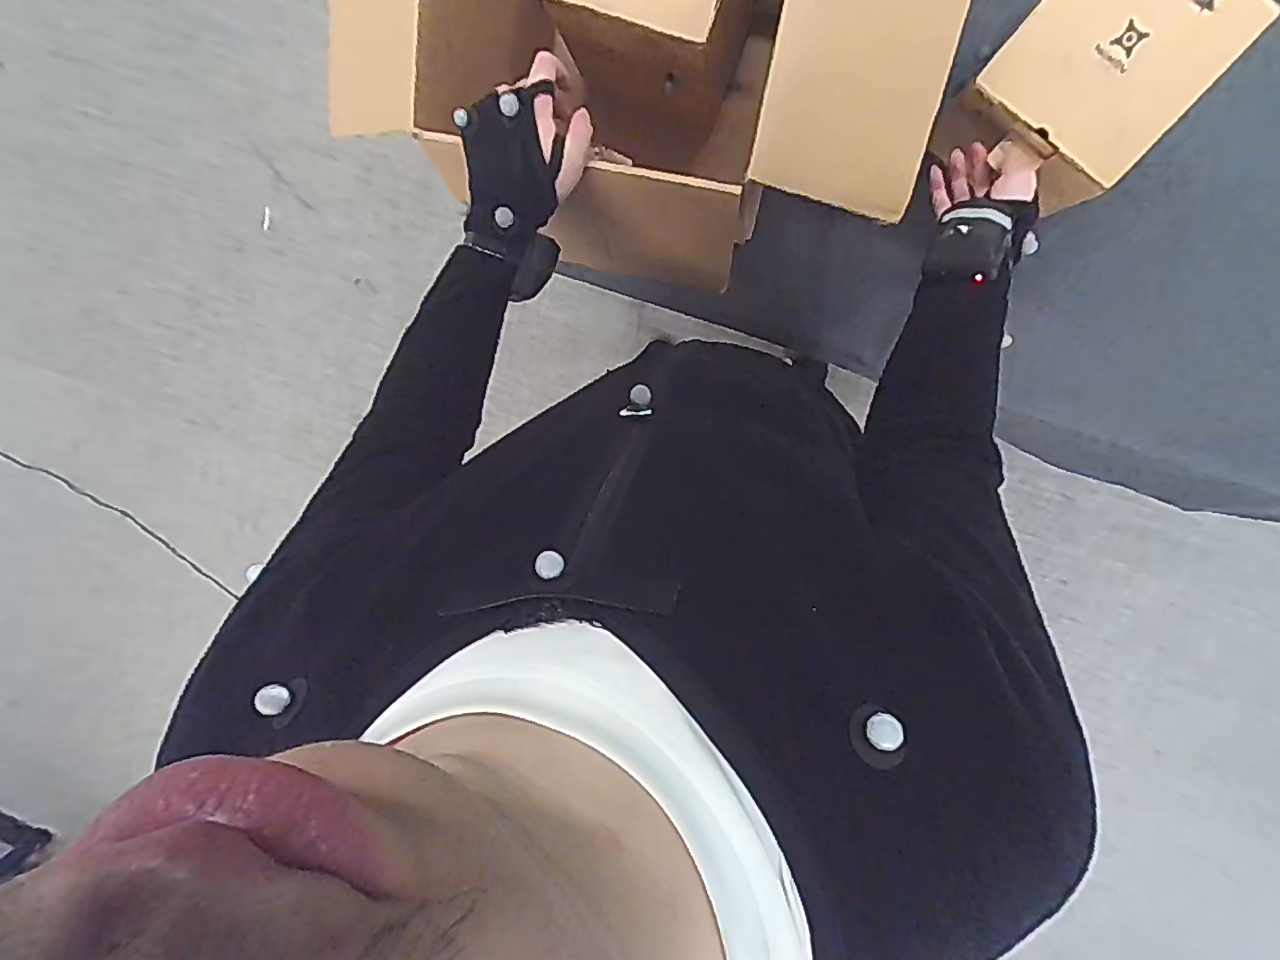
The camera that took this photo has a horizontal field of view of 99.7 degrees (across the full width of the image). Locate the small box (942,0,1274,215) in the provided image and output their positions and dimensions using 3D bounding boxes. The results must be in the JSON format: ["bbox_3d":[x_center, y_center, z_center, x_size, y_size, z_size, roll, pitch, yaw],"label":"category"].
[{"bbox_3d":[0.451,-0.412,0.567,0.168,0.176,0.179,42,110,-1],"label":"small box"}]
